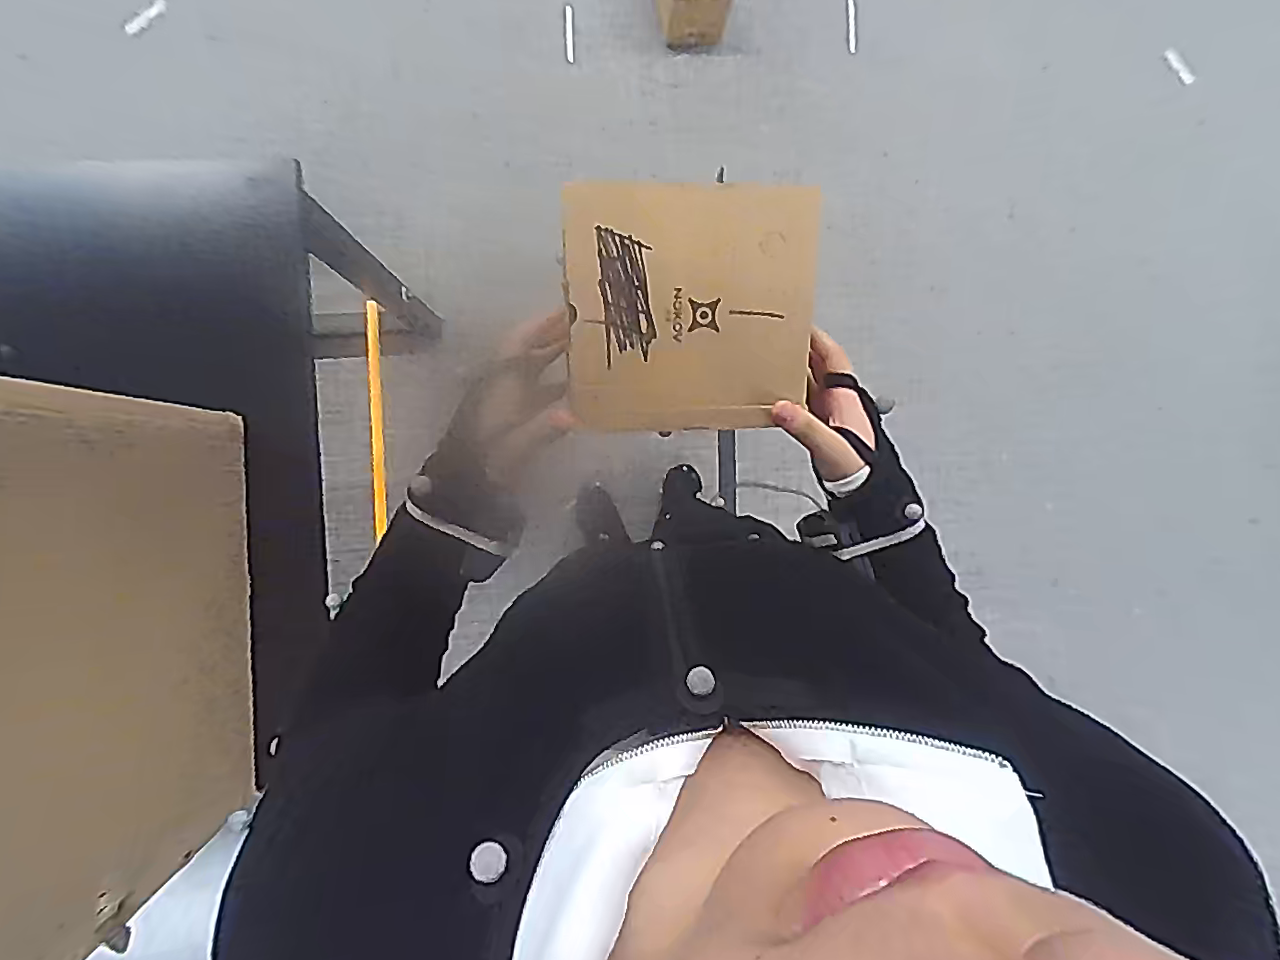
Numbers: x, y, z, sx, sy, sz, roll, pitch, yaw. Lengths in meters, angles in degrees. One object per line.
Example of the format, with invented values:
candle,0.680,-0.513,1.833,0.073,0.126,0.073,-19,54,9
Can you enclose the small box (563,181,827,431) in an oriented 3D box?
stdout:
small box,0.033,-0.136,0.449,0.179,0.176,0.168,-2,107,-4

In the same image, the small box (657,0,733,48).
small box,0.138,-1.288,1.416,0.168,0.176,0.179,-9,93,-3
